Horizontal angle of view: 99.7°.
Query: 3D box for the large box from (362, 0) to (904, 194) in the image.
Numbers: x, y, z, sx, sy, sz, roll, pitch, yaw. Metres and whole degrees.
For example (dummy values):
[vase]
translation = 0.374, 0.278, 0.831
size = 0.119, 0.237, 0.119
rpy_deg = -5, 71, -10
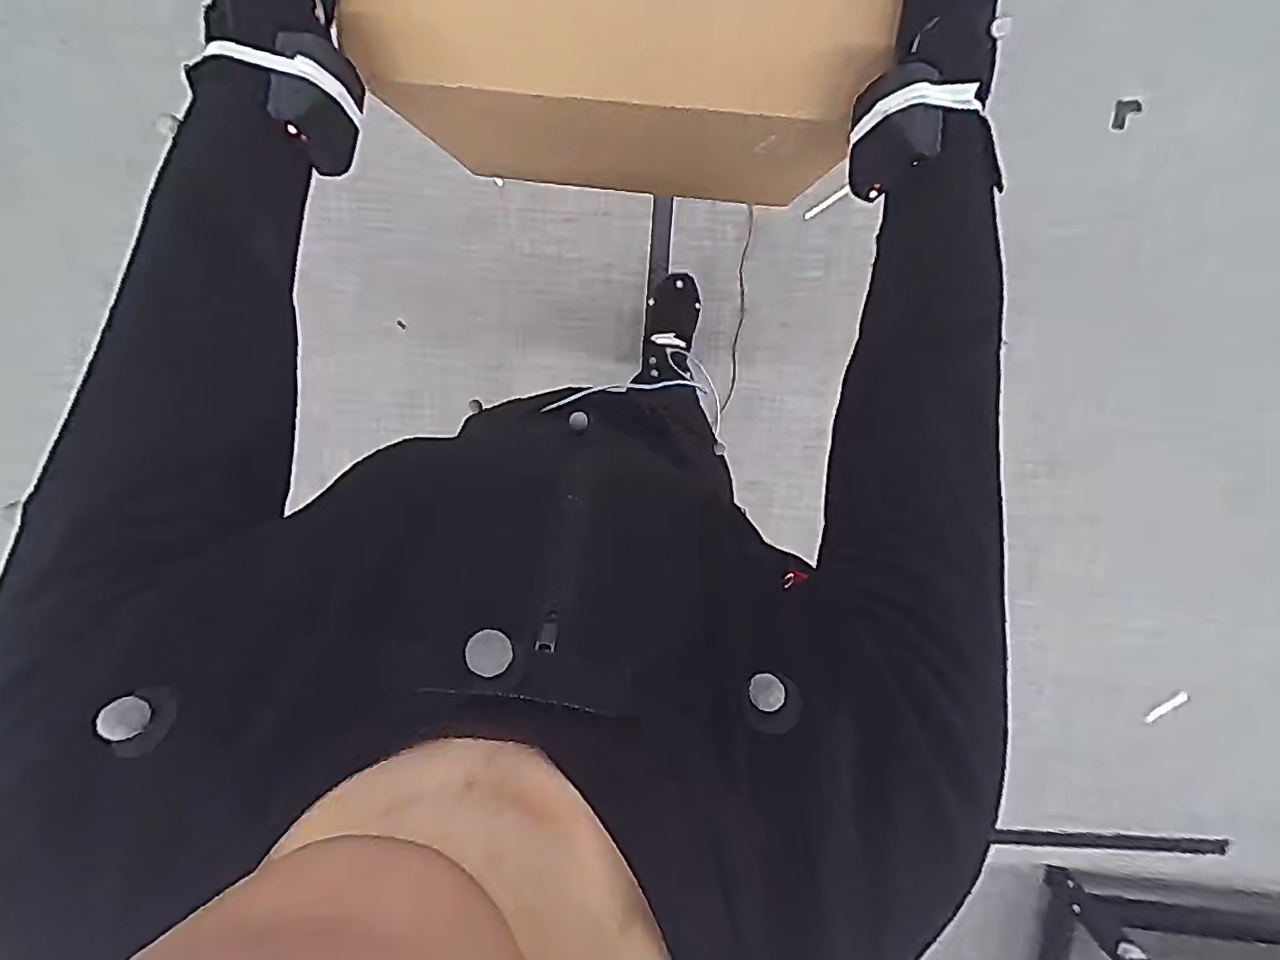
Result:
[large box]
translation = 0.001, -0.483, 0.510
size = 0.408, 0.320, 0.320
rpy_deg = 5, 108, -1
